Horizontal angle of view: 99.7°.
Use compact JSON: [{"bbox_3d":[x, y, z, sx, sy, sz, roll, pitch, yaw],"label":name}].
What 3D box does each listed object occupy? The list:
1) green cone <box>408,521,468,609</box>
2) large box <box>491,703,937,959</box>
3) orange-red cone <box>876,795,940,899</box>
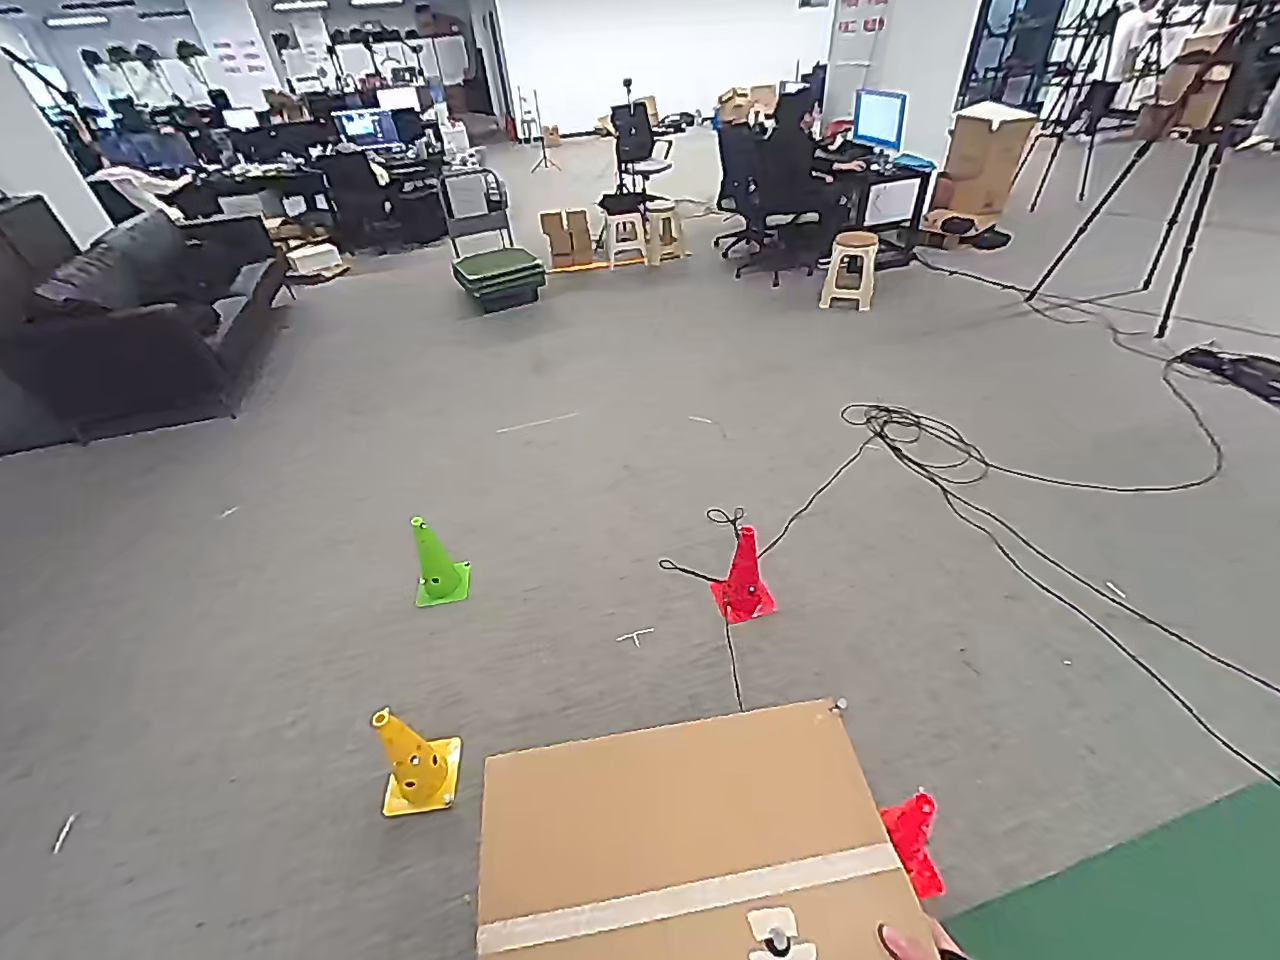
[{"bbox_3d":[-0.809,0.294,2.064,0.200,0.368,0.202,-10,41,-5],"label":"green cone"},{"bbox_3d":[0.060,0.503,0.625,0.408,0.320,0.320,-8,48,-6],"label":"large box"},{"bbox_3d":[0.626,0.828,1.273,0.199,0.360,0.198,-7,41,-5],"label":"orange-red cone"}]
